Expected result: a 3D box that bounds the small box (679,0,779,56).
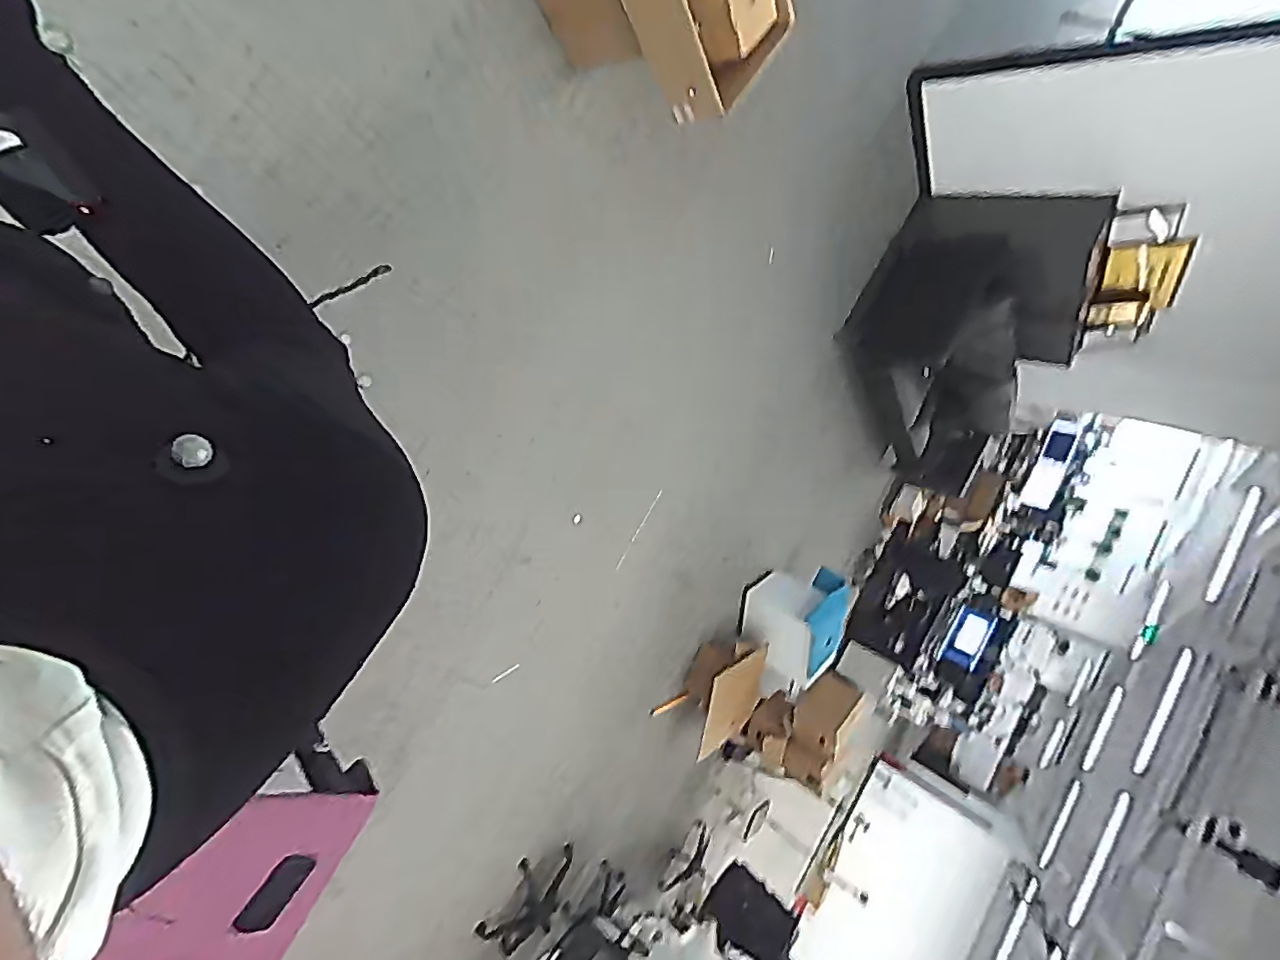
[{"bbox_3d":[0.229,-1.250,1.404,0.179,0.176,0.168,-55,140,-11],"label":"small box"}]
